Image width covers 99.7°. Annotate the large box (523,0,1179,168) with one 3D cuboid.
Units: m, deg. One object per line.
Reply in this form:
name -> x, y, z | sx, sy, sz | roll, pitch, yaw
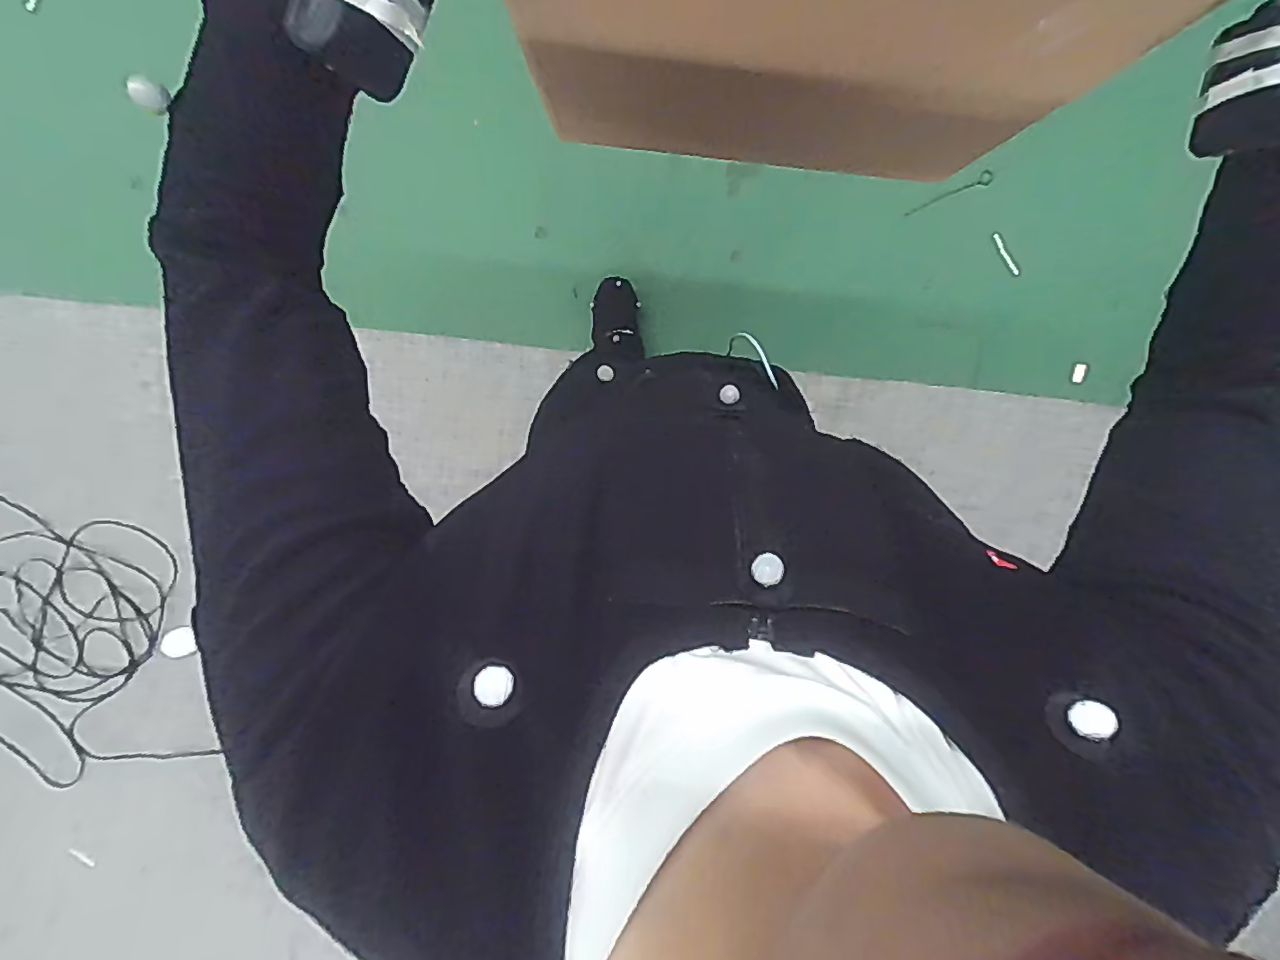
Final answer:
large box -> 0.128, -0.457, 0.386 | 0.408, 0.320, 0.320 | 5, 102, -2
